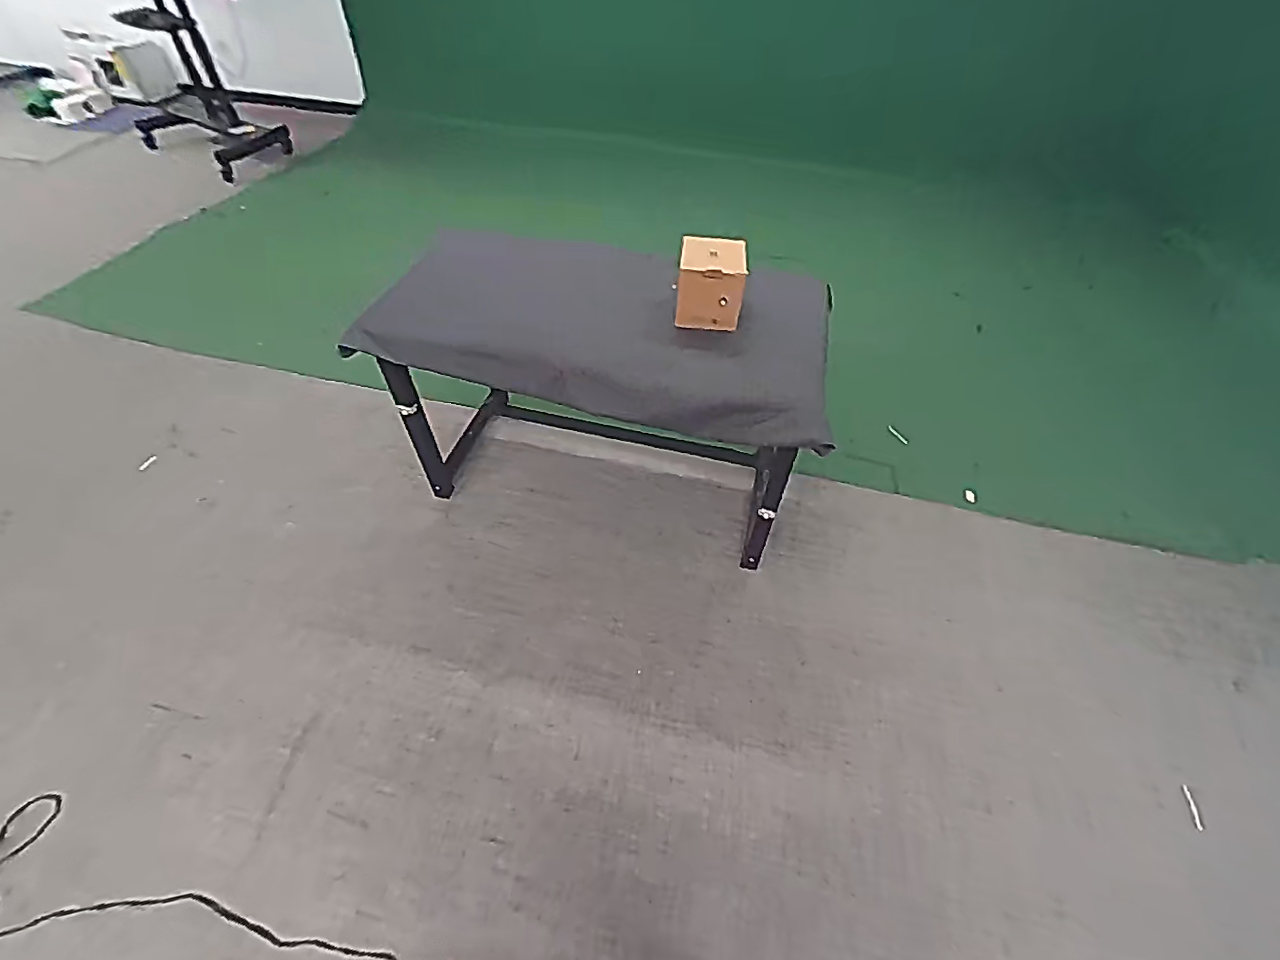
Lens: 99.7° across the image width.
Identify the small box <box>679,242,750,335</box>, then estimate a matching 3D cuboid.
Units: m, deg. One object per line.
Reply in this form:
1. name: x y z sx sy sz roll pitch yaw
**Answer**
1. small box: 0.198 -0.511 1.450 0.168 0.176 0.179 7 48 1
